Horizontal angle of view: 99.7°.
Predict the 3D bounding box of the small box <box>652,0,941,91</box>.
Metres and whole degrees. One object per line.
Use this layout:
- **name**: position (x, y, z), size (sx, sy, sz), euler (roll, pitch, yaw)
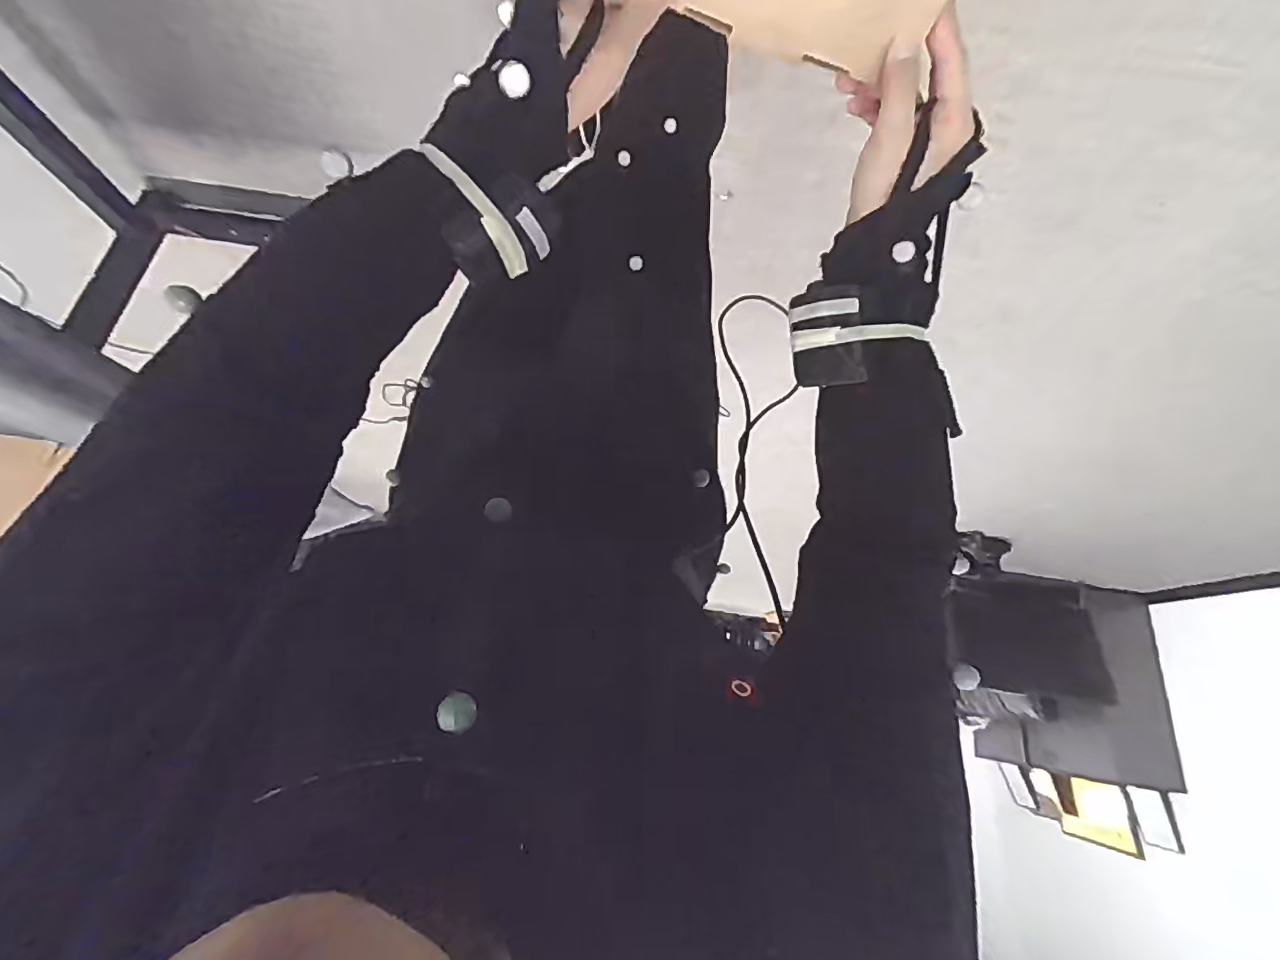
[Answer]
- **small box**: position (0.107, -0.364, 0.290), size (0.168, 0.176, 0.179), euler (16, 145, -6)
